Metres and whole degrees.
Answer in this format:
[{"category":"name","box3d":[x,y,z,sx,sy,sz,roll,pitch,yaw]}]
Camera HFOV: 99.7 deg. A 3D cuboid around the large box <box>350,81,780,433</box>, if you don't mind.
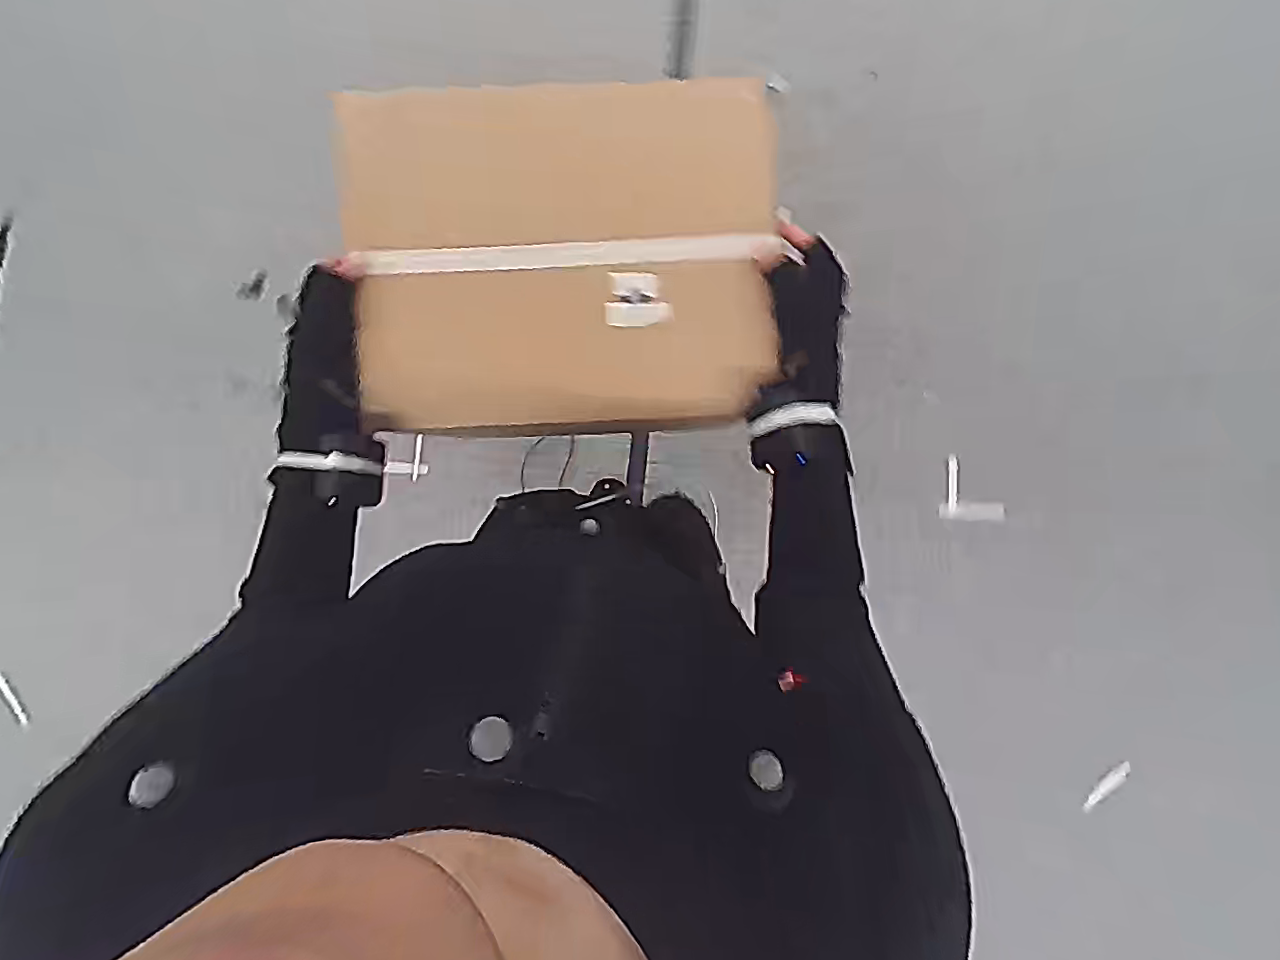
[{"category":"large box","box3d":[-0.074,-0.228,0.670,0.408,0.320,0.320,-3,94,-2]}]
